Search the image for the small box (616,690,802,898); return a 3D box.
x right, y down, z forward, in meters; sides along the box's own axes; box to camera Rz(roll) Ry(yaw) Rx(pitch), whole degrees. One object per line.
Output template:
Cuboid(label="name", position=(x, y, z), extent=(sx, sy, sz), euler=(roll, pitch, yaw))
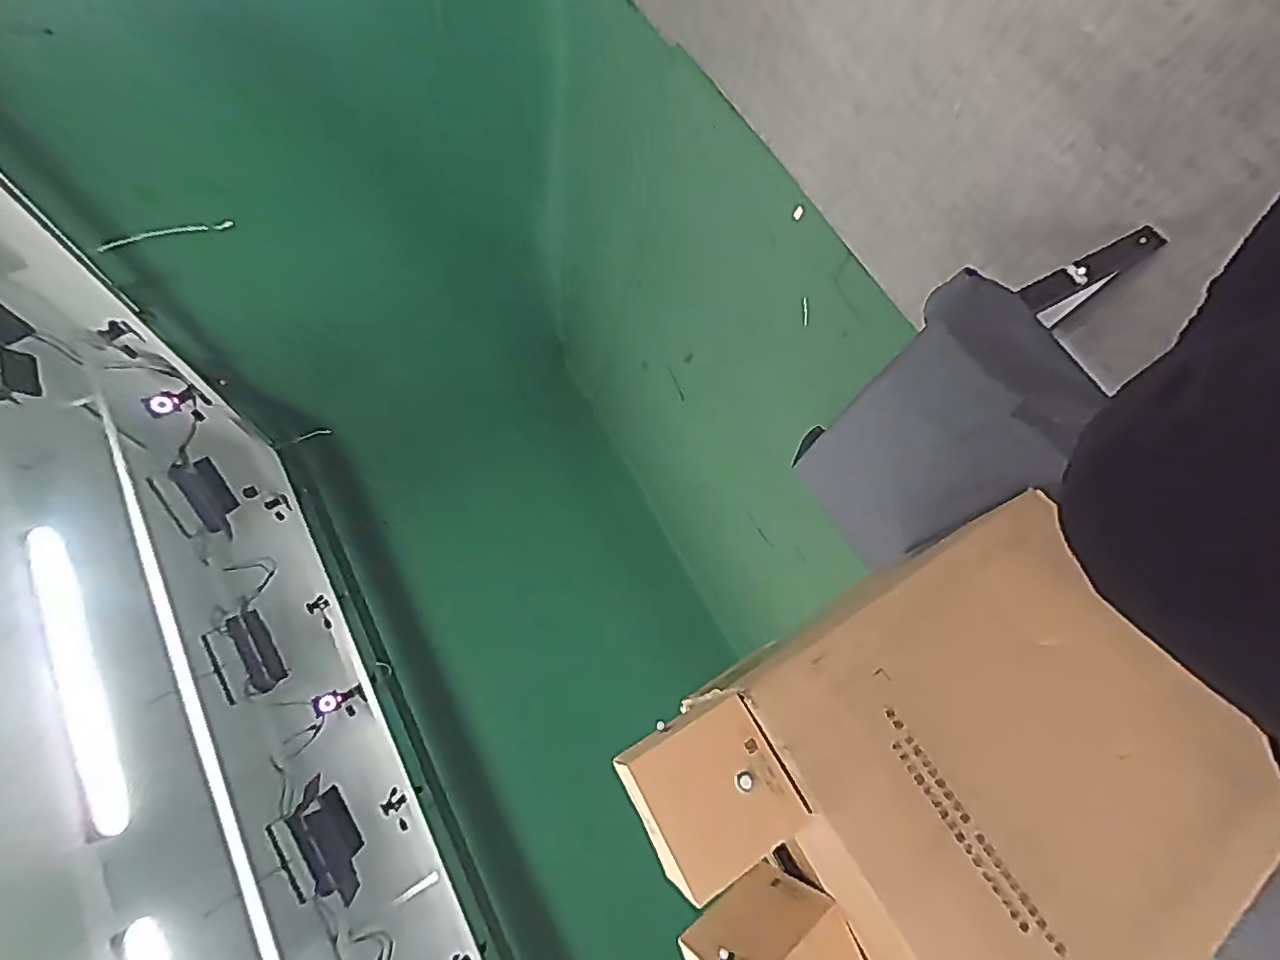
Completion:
Cuboid(label="small box", position=(0.086, 0.403, 0.726), extent=(0.168, 0.176, 0.179), euler=(58, 159, 18))

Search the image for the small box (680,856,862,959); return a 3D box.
Cuboid(label="small box", position=(0.191, 0.661, 0.722), extent=(0.179, 0.176, 0.168), euler=(64, 150, 6))
